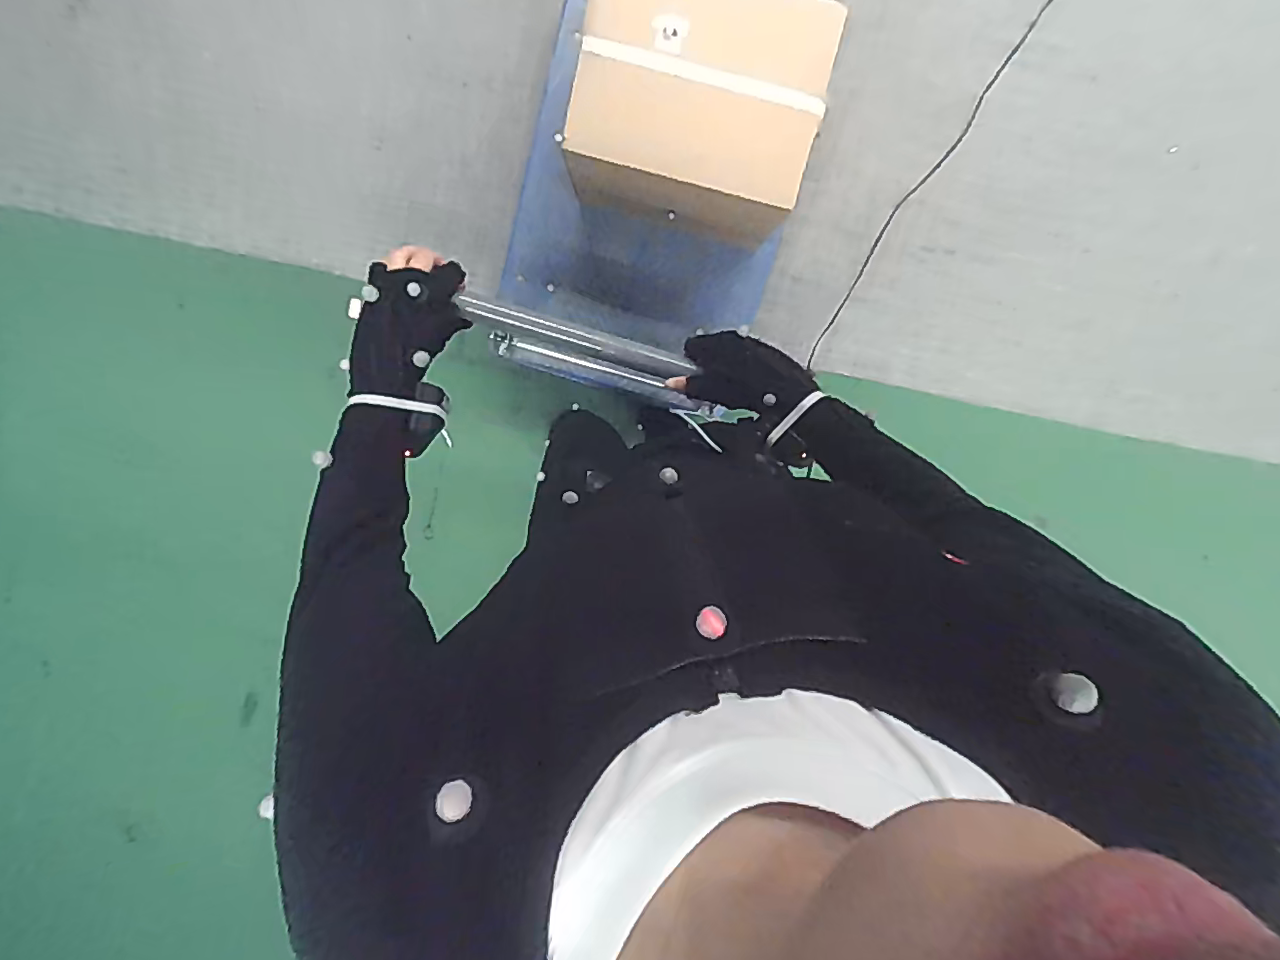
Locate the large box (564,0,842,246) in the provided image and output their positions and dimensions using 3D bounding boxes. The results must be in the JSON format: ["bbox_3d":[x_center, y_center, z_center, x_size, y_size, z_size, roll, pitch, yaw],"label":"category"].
[{"bbox_3d":[0.102,-0.674,1.027,0.408,0.320,0.320,13,100,-2],"label":"large box"}]
